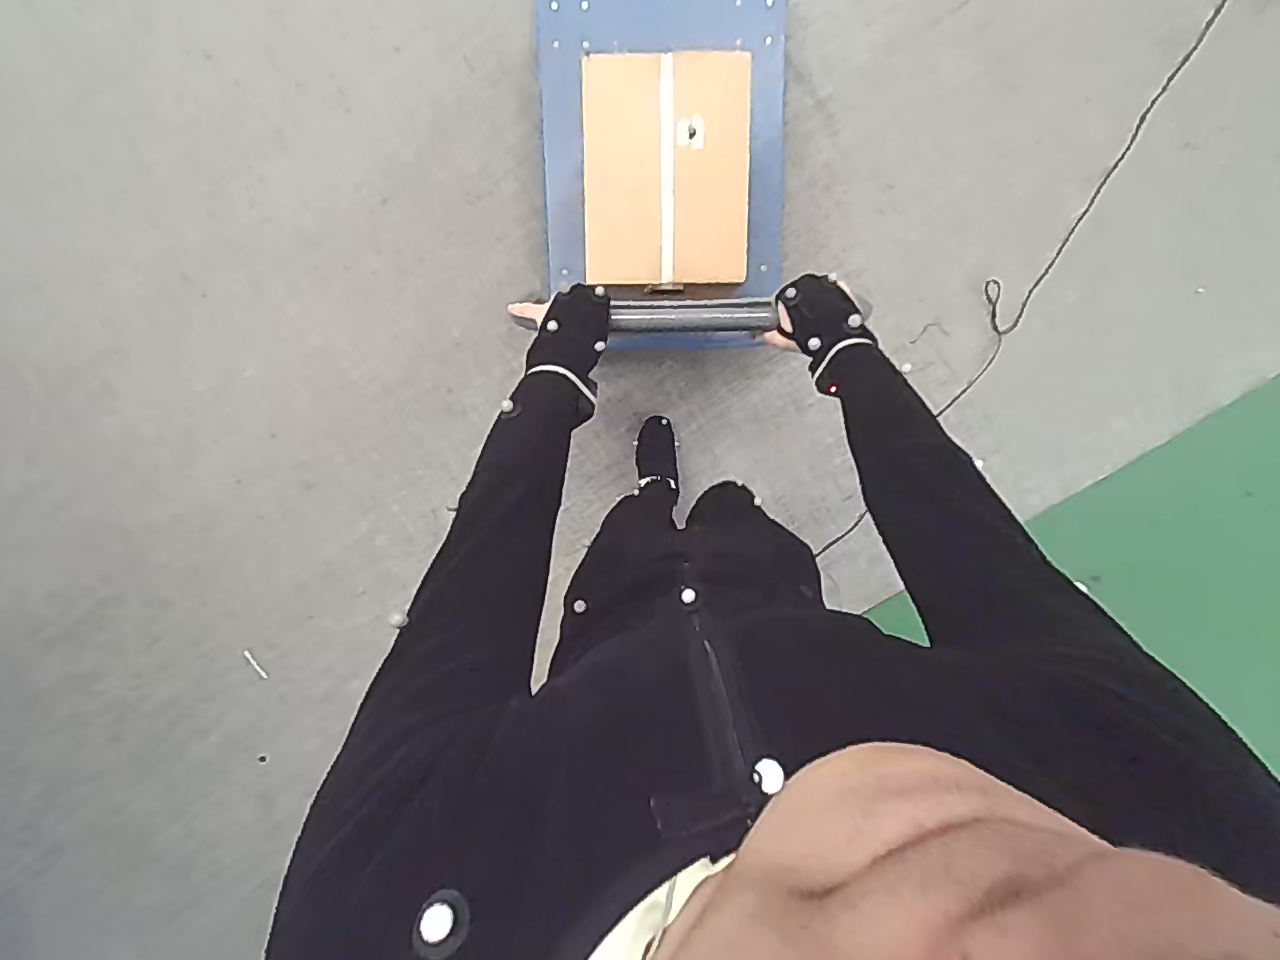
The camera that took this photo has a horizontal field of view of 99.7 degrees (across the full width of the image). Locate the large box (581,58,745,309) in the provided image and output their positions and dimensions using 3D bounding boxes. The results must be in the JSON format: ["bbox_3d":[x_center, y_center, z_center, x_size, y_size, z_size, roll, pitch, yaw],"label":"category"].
[{"bbox_3d":[0.049,-0.609,1.186,0.320,0.320,0.408,0,98,0],"label":"large box"}]
